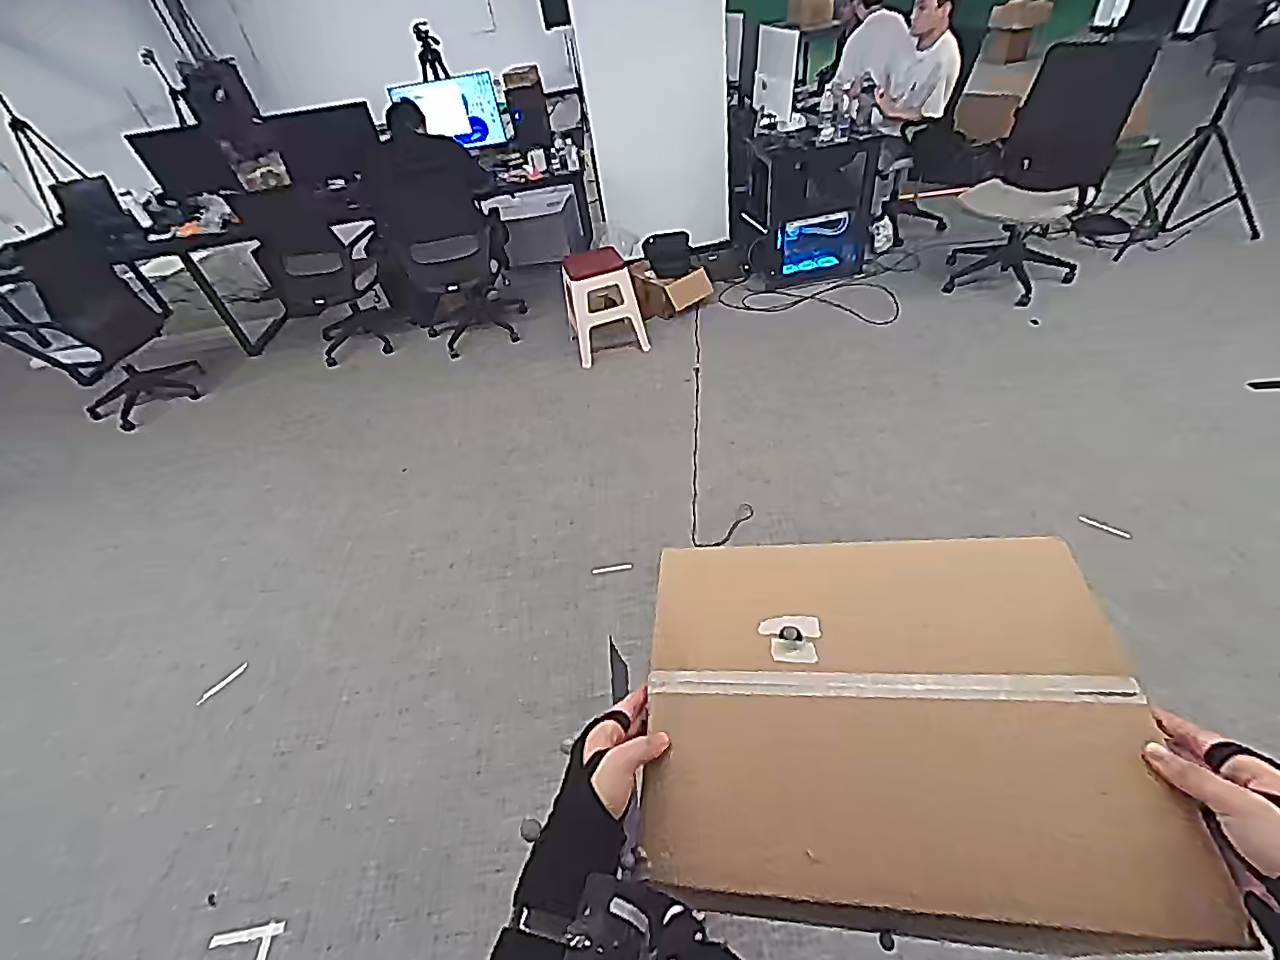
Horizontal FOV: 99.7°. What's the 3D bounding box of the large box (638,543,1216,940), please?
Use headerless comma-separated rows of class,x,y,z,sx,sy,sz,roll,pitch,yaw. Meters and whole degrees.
large box,0.236,0.293,0.602,0.408,0.320,0.320,-4,46,13
